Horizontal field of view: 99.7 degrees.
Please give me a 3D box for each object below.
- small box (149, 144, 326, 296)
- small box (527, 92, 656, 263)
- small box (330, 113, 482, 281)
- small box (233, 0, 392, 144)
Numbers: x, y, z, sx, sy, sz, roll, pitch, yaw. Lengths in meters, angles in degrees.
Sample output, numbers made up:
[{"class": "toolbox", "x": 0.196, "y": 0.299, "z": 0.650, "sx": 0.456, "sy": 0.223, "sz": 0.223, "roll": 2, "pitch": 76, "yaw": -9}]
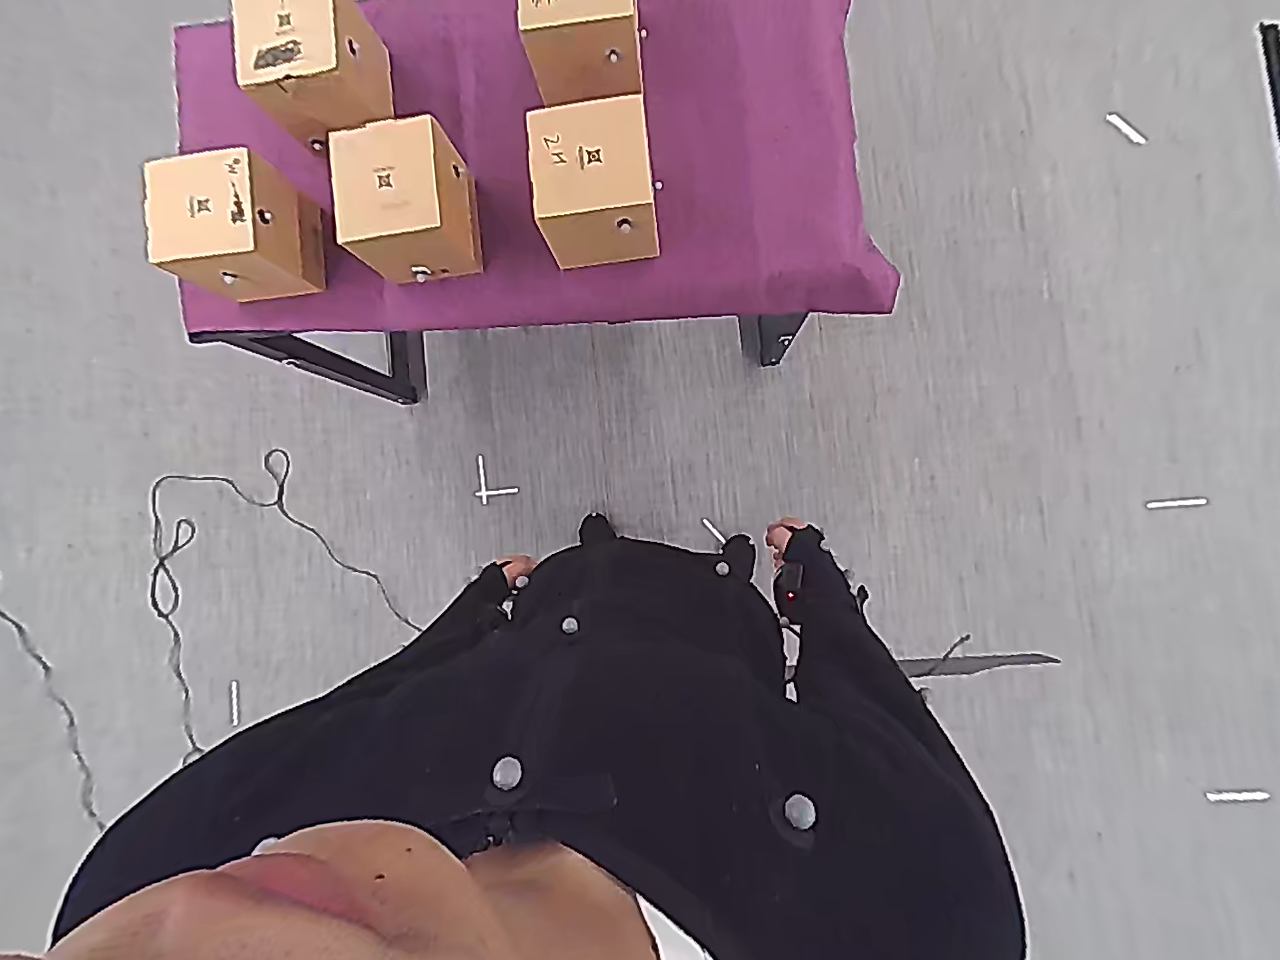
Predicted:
[{"class": "small box", "x": -0.668, "y": -0.424, "z": 0.911, "sx": 0.179, "sy": 0.176, "sz": 0.168, "roll": -5, "pitch": 88, "yaw": 5}, {"class": "small box", "x": -0.067, "y": -0.466, "z": 0.858, "sx": 0.179, "sy": 0.176, "sz": 0.168, "roll": -5, "pitch": 87, "yaw": 5}, {"class": "small box", "x": -0.374, "y": -0.452, "z": 0.889, "sx": 0.168, "sy": 0.176, "sz": 0.179, "roll": -6, "pitch": 89, "yaw": 5}, {"class": "small box", "x": -0.540, "y": -0.700, "z": 0.913, "sx": 0.168, "sy": 0.176, "sz": 0.179, "roll": -6, "pitch": 87, "yaw": 5}]
